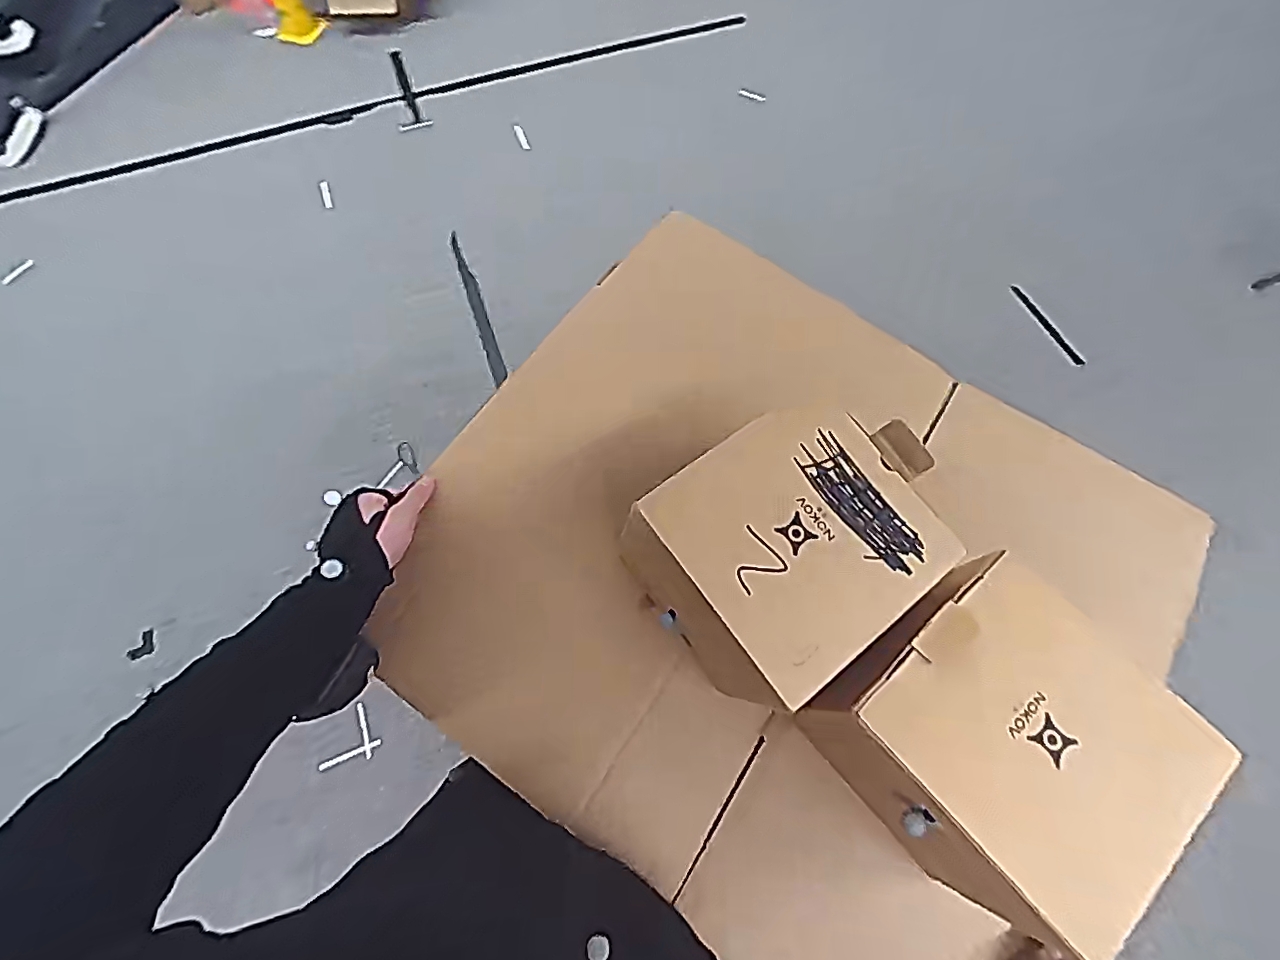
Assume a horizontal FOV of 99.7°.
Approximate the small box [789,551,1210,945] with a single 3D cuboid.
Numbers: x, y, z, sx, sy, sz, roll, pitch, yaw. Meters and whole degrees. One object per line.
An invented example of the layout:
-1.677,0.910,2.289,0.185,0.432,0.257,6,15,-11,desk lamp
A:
0.249,0.187,0.423,0.168,0.176,0.179,-40,73,-15,small box
